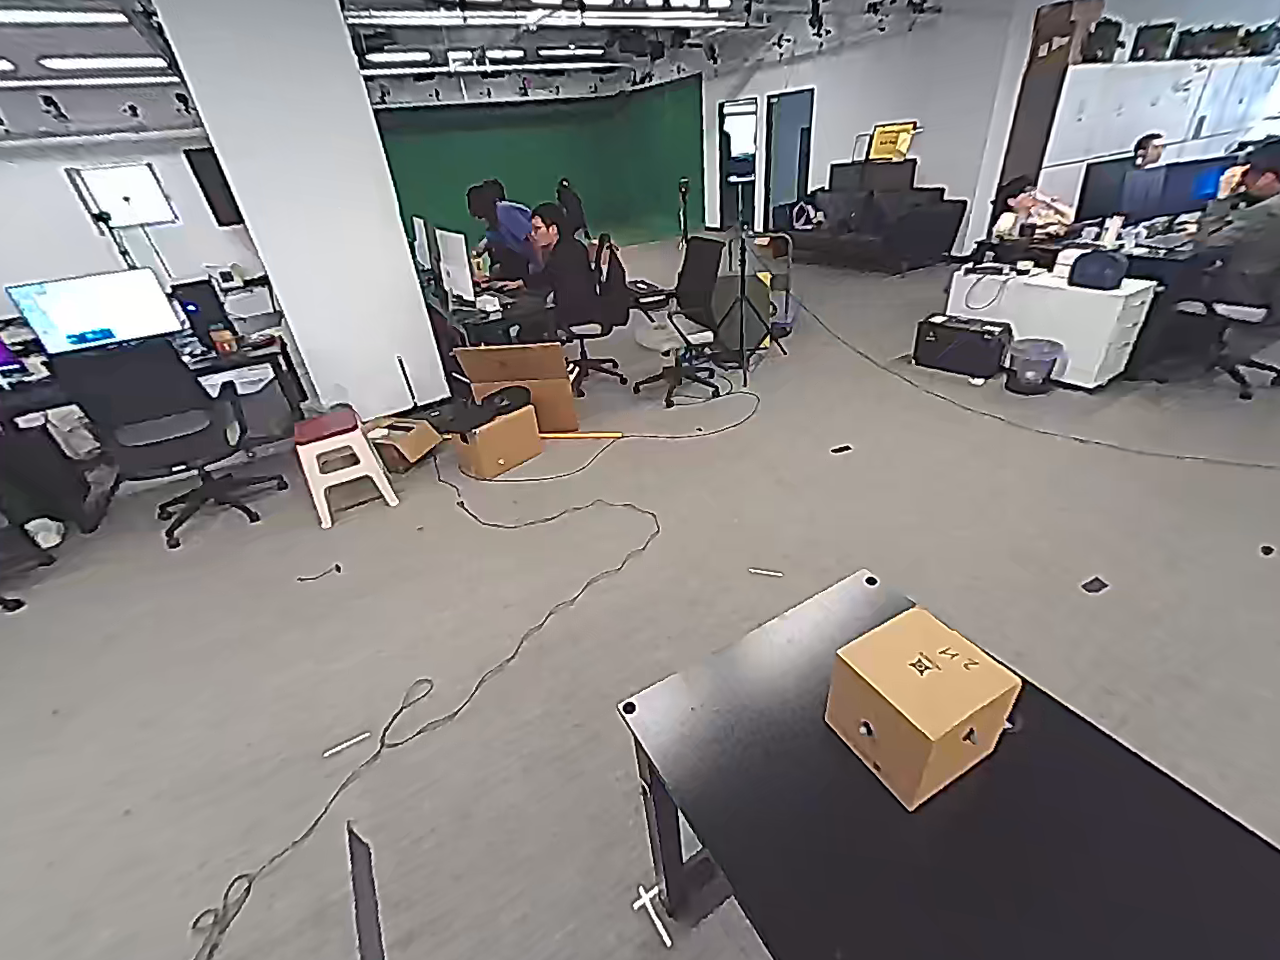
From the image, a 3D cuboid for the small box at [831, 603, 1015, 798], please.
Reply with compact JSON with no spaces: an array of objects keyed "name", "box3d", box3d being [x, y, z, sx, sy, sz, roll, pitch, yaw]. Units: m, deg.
[{"name":"small box","box3d":[0.401,0.321,0.796,0.179,0.176,0.168,-19,34,-21]}]
